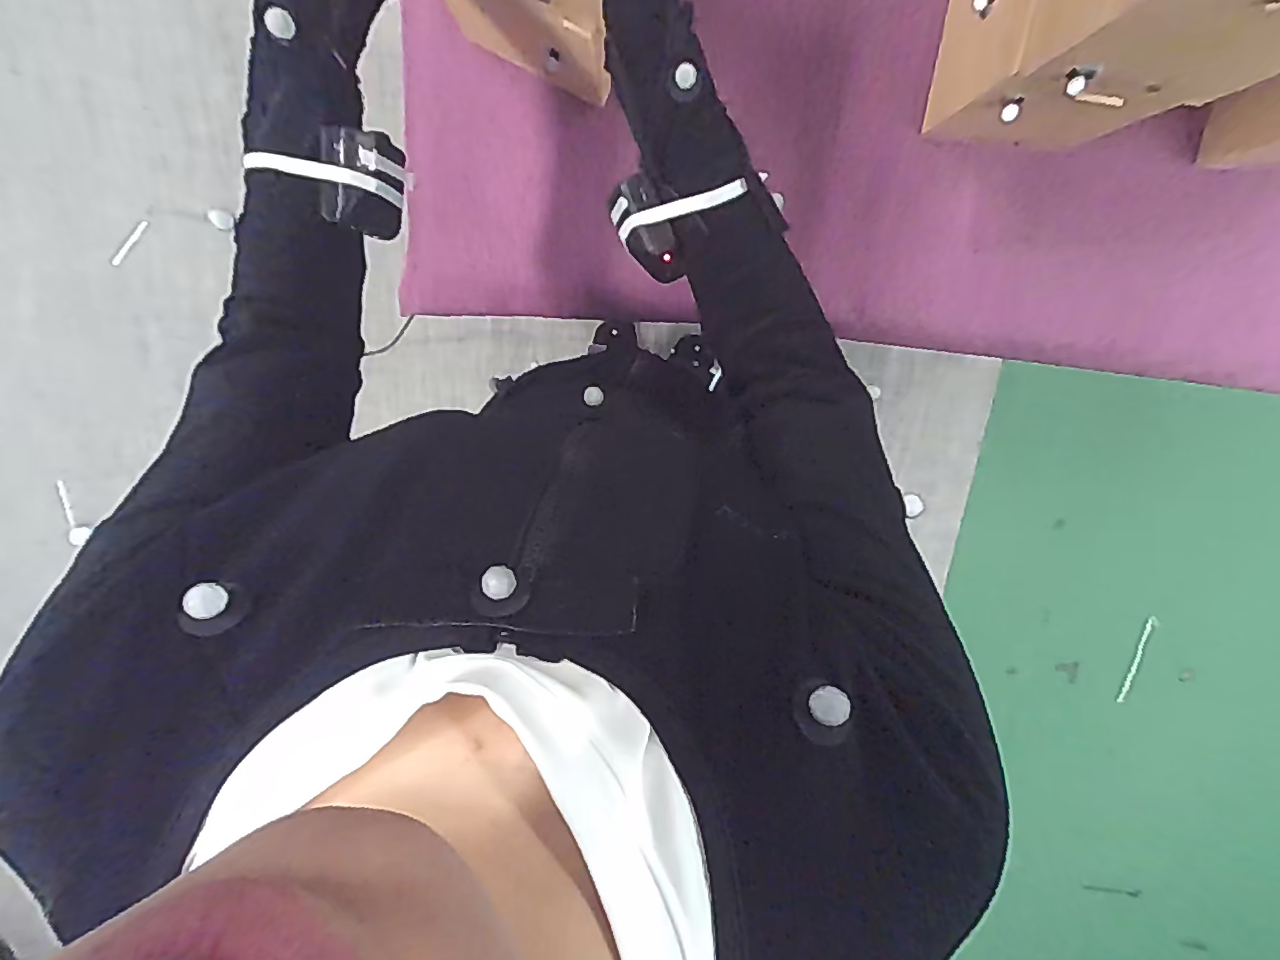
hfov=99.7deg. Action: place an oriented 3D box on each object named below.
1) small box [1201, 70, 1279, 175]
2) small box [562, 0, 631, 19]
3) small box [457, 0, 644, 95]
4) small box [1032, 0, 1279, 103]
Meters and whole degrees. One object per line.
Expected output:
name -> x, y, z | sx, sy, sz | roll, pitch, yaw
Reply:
small box -> 0.736, -0.424, 0.540 | 0.168, 0.176, 0.179 | 2, 107, -1
small box -> -0.071, -0.452, 0.349 | 0.168, 0.176, 0.179 | 11, 107, -4
small box -> -0.075, -0.497, 0.486 | 0.168, 0.176, 0.179 | 23, 105, -8
small box -> 0.419, -0.393, 0.371 | 0.168, 0.176, 0.179 | 5, 105, -3
